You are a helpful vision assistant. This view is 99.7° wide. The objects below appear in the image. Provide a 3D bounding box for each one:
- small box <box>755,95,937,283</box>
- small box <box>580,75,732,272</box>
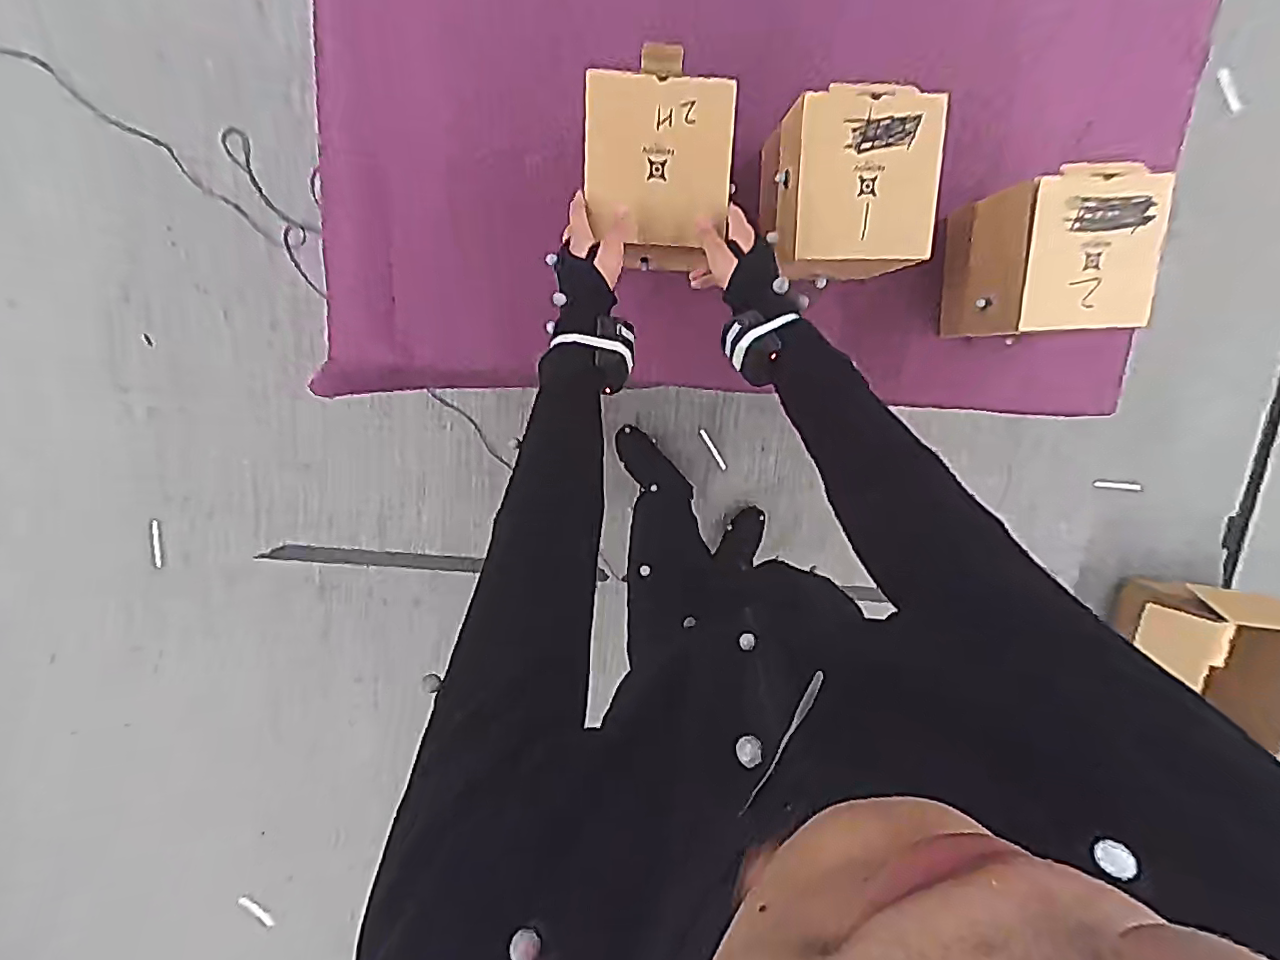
[{"bbox_3d":[0.253,-0.363,0.704,0.168,0.176,0.179,-1,102,-3],"label":"small box"},{"bbox_3d":[0.013,-0.371,0.688,0.168,0.176,0.179,2,101,-4],"label":"small box"}]
